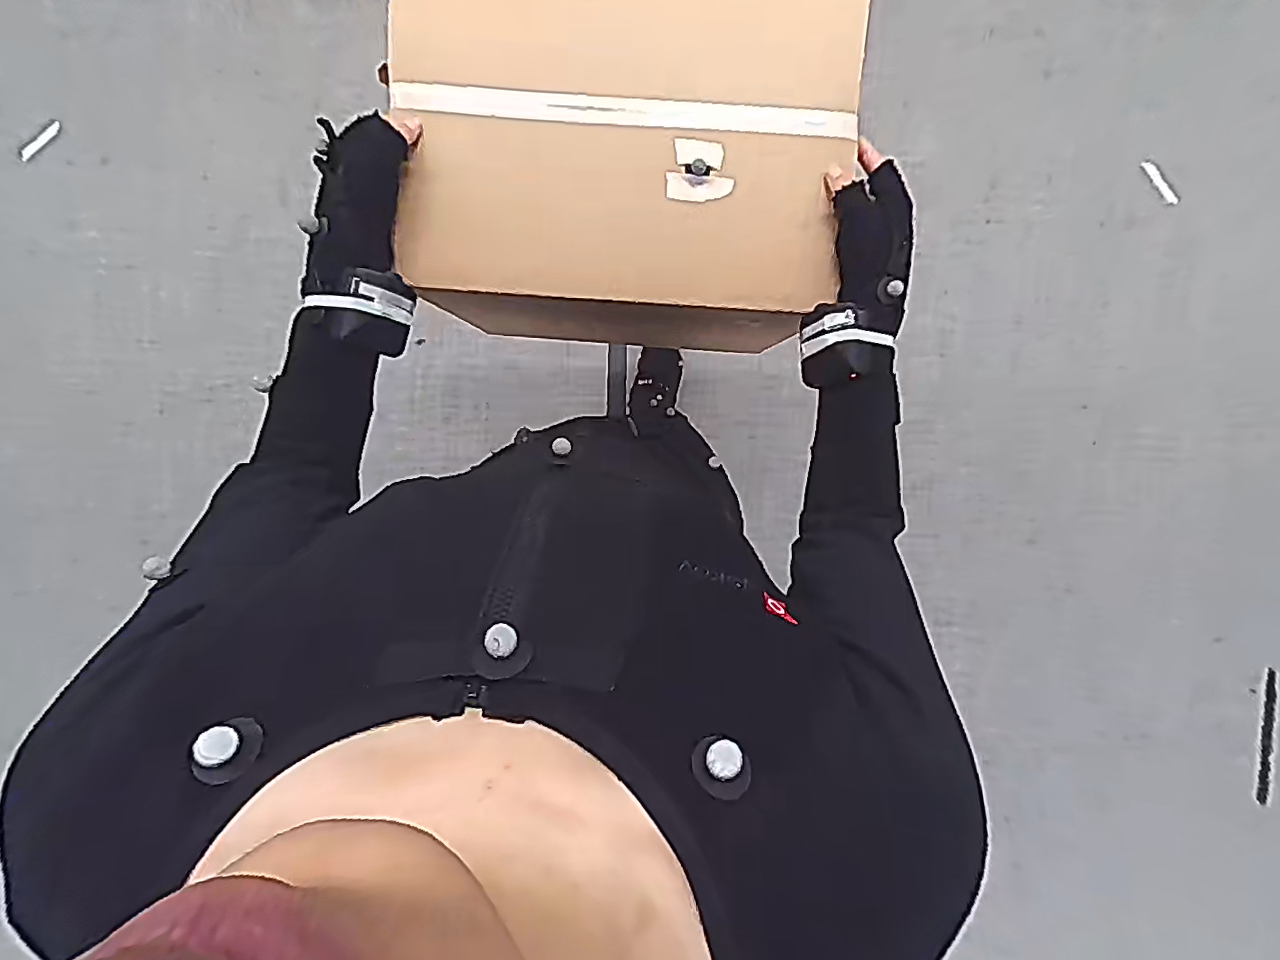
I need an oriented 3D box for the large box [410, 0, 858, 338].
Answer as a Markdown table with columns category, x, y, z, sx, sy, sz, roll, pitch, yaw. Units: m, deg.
| category | x | y | z | sx | sy | sz | roll | pitch | yaw |
| --- | --- | --- | --- | --- | --- | --- | --- | --- | --- |
| large box | -0.012 | -0.352 | 0.636 | 0.408 | 0.320 | 0.320 | 3 | 98 | -2 |
